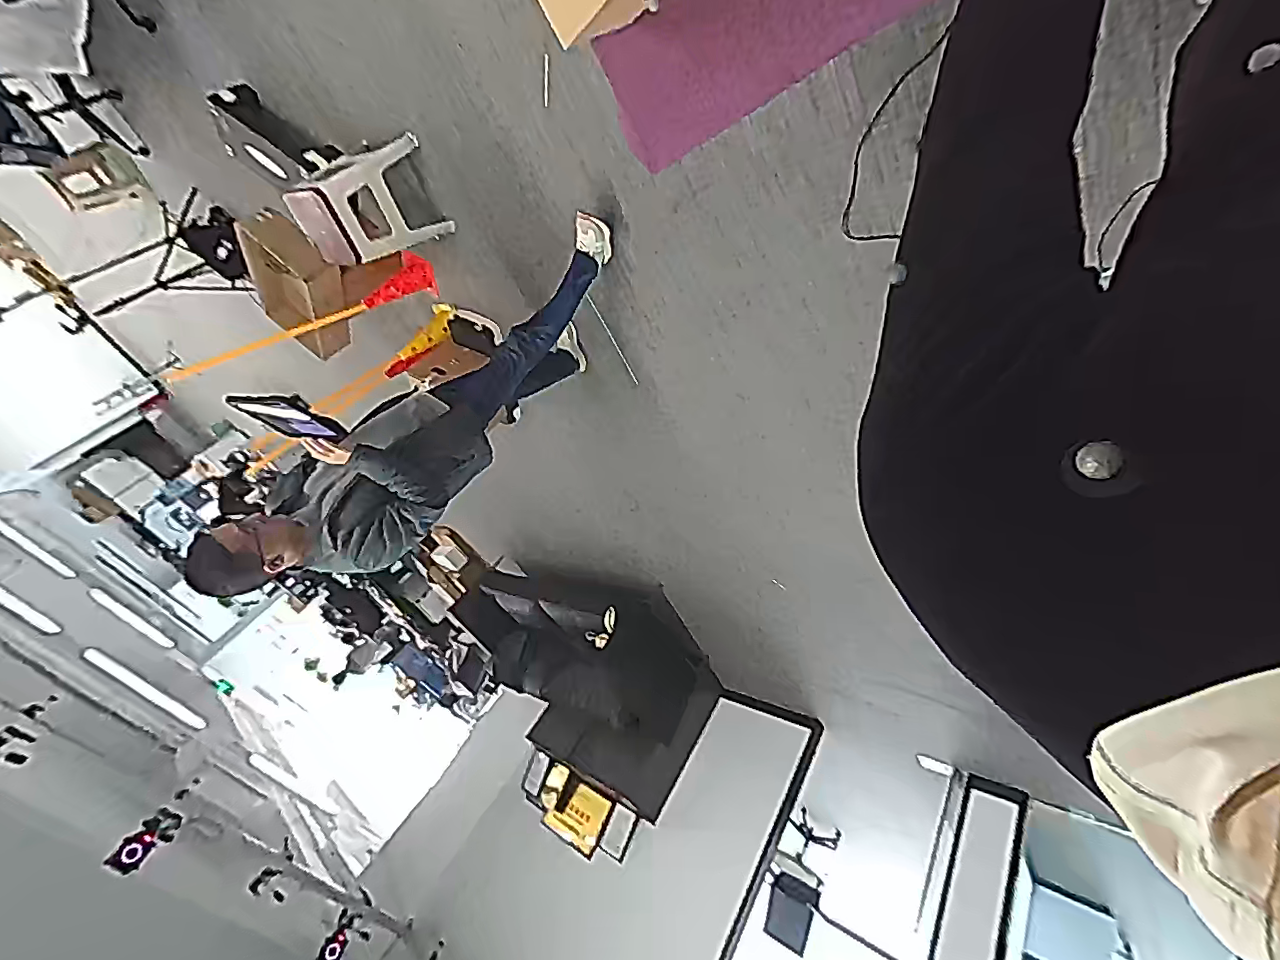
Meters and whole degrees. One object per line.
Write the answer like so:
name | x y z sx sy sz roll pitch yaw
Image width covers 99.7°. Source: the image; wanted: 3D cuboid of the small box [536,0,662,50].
small box | -0.042 -0.669 0.642 0.168 0.176 0.179 -4 128 48
